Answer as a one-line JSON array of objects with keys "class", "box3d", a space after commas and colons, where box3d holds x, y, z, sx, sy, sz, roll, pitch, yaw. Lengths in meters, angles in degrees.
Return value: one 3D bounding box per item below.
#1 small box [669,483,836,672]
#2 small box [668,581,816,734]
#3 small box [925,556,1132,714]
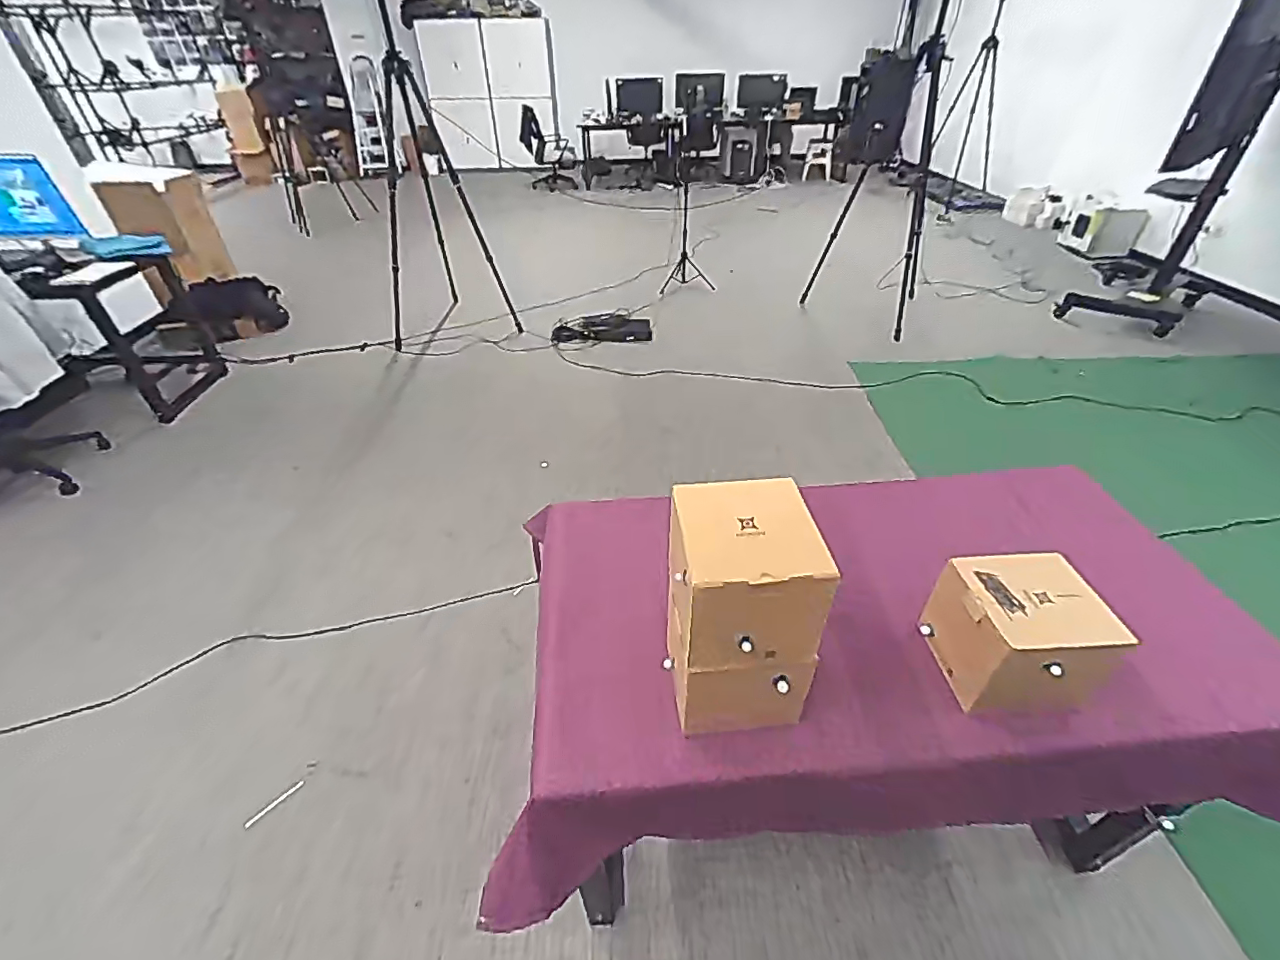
[{"class": "small box", "box3d": [0.130, 0.124, 0.709, 0.168, 0.176, 0.179, -4, 39, -4]}, {"class": "small box", "box3d": [0.137, 0.255, 0.806, 0.179, 0.176, 0.168, -4, 38, -3]}, {"class": "small box", "box3d": [0.560, 0.234, 0.817, 0.179, 0.176, 0.168, -2, 39, -2]}]
